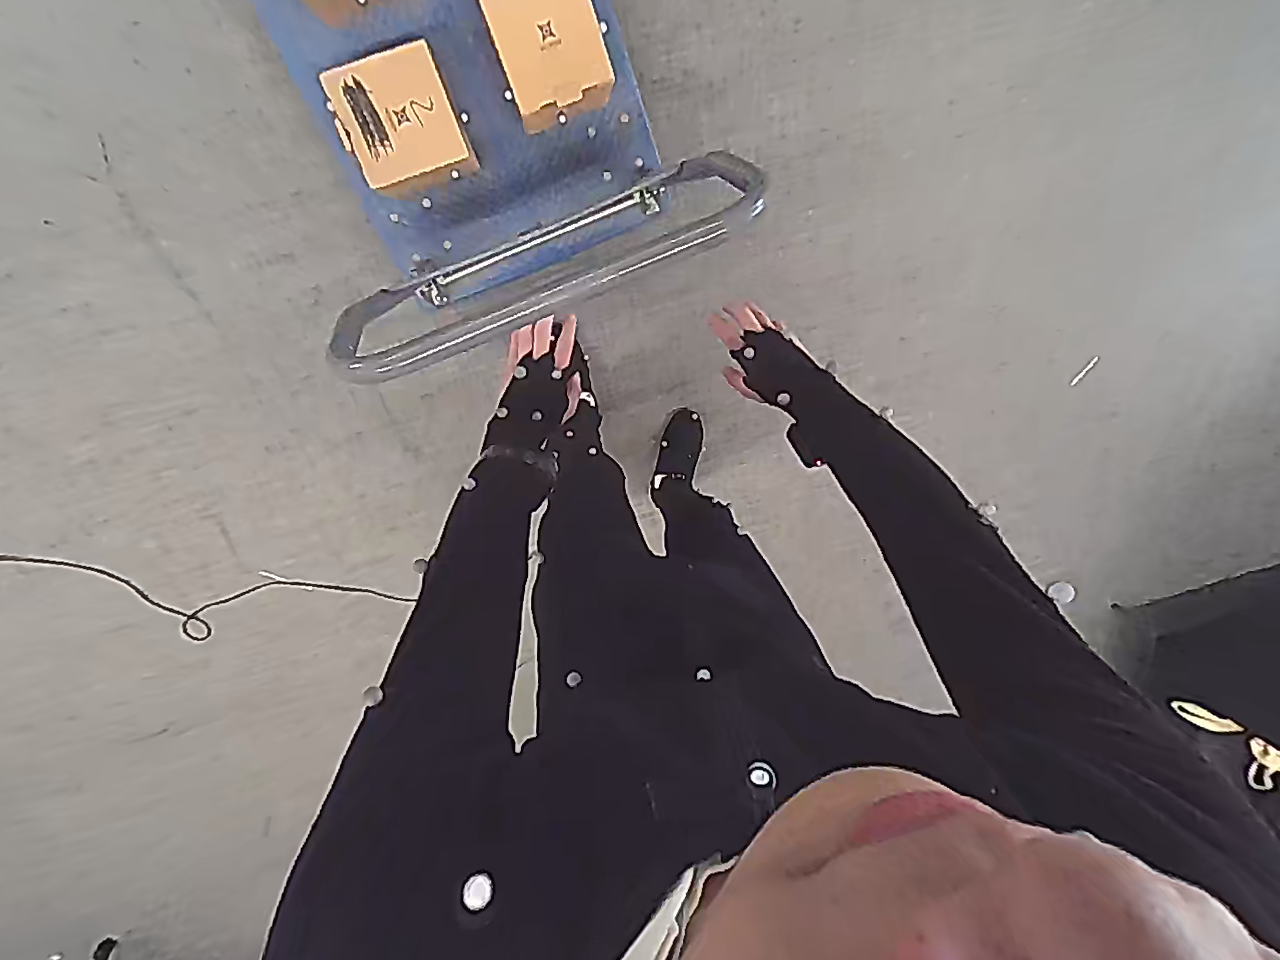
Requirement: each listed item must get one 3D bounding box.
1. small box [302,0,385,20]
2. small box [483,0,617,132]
[{"bbox_3d":[-0.473,-0.843,0.817,0.168,0.176,0.179,-26,115,2],"label":"small box"},{"bbox_3d":[-0.152,-0.728,0.920,0.168,0.176,0.179,-21,116,1],"label":"small box"}]
